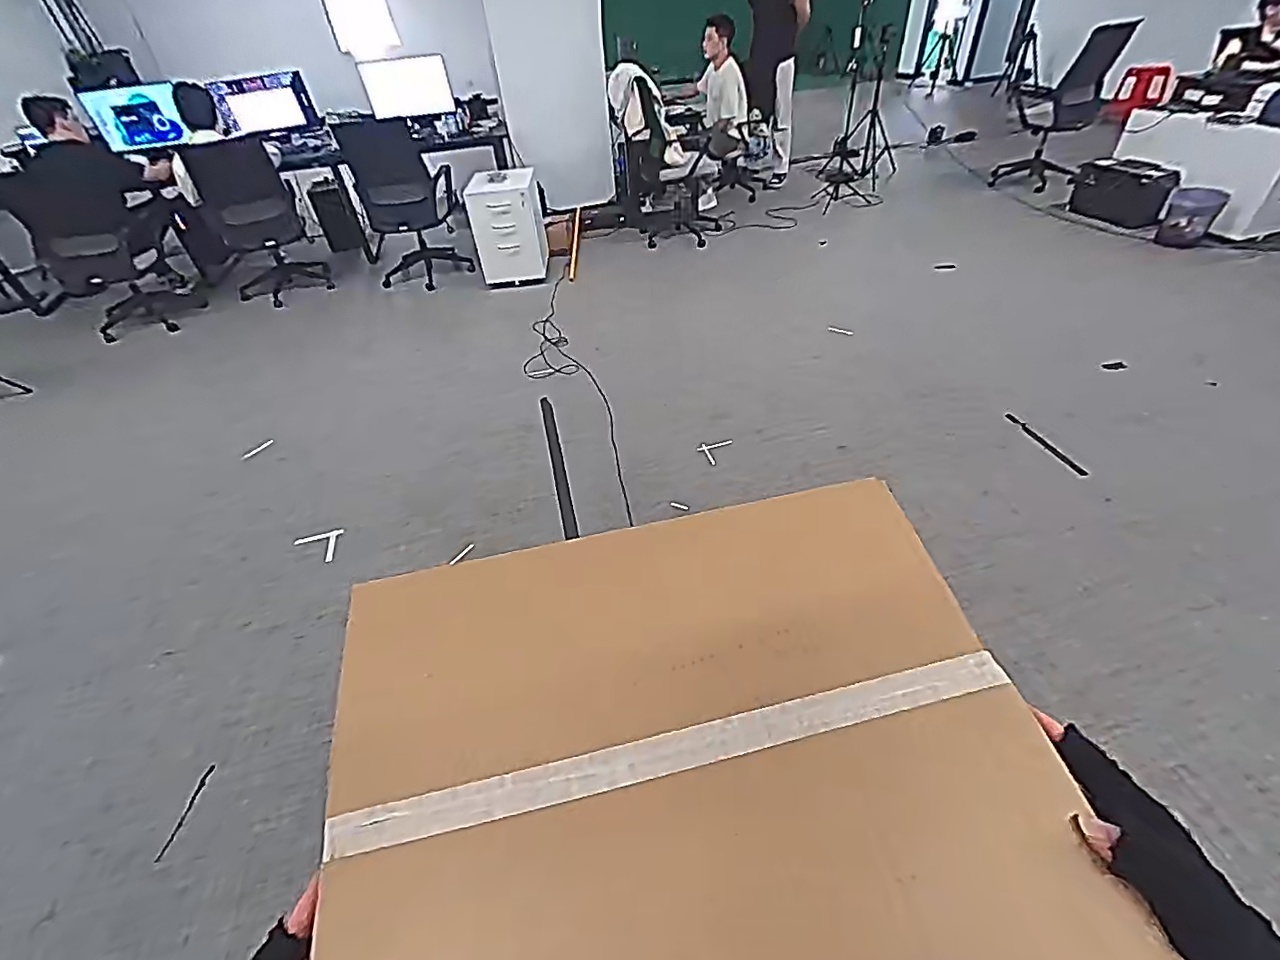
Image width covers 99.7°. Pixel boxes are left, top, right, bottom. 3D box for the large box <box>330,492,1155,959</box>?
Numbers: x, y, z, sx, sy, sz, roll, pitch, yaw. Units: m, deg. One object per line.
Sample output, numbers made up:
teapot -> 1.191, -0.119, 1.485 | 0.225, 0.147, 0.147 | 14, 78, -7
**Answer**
large box -> 0.034, 0.256, 0.441 | 0.408, 0.320, 0.320 | -12, 53, -5
